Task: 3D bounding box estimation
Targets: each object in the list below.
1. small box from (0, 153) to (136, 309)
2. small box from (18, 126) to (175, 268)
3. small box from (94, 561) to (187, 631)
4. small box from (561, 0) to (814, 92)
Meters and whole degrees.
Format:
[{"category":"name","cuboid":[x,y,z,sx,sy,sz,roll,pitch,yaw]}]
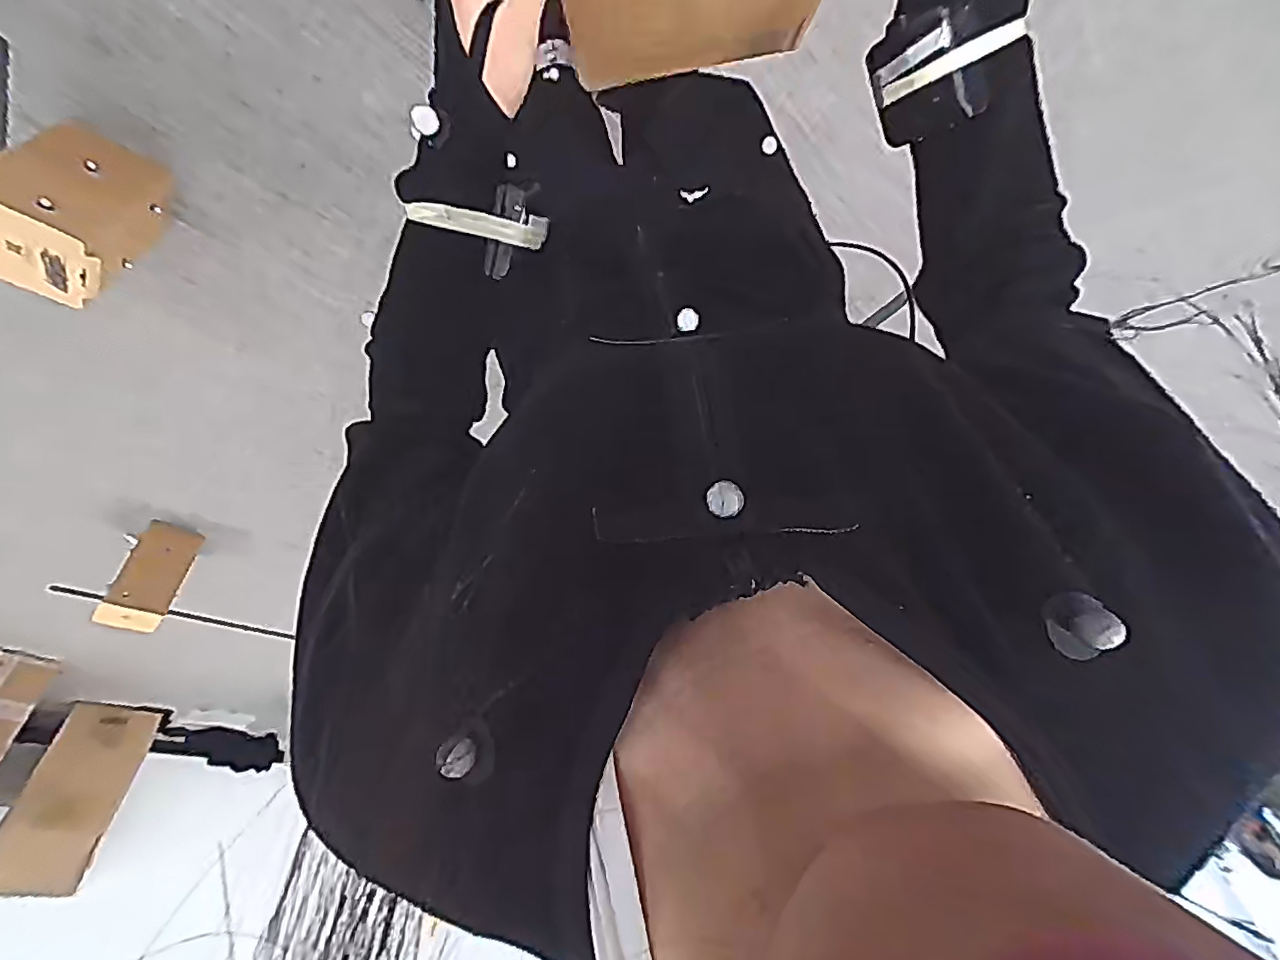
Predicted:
[{"category":"small box","cuboid":[-1.083,-0.462,1.000,0.179,0.176,0.168,24,130,-30]},{"category":"small box","cuboid":[-1.102,-0.583,1.110,0.179,0.176,0.168,24,130,-29]},{"category":"small box","cuboid":[-1.754,0.406,1.903,0.168,0.176,0.179,-35,133,30]},{"category":"small box","cuboid":[0.026,-0.386,0.336,0.179,0.176,0.168,-9,98,4]}]
